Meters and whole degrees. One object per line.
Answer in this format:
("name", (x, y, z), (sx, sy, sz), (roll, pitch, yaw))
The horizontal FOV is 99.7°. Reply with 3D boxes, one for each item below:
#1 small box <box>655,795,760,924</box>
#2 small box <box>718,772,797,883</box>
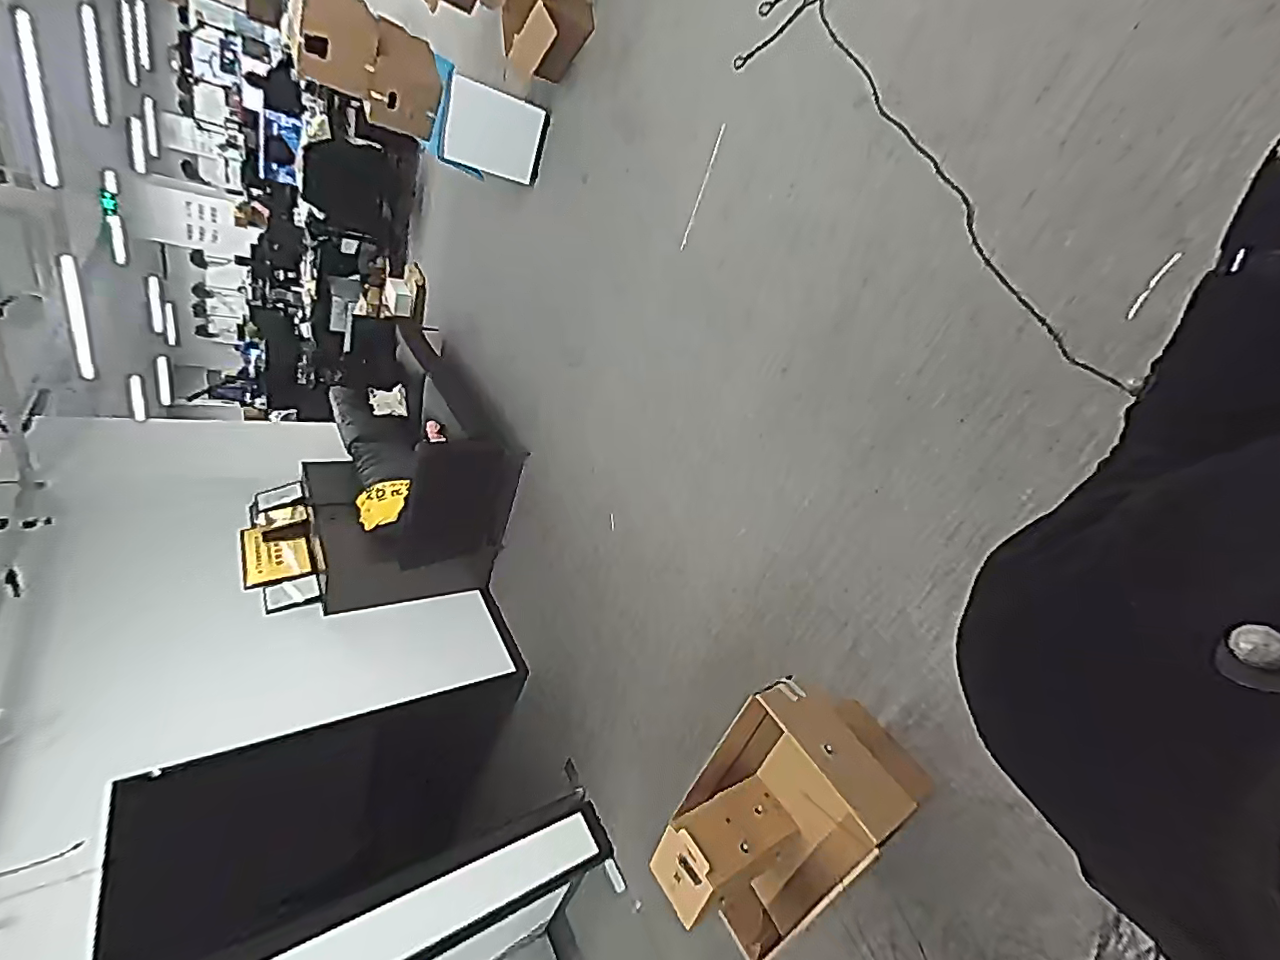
("small box", (0.169, 0.924, 1.334), (0.168, 0.176, 0.179), (41, 122, 43))
("small box", (0.291, 0.924, 1.445), (0.168, 0.176, 0.179), (43, 121, 43))
